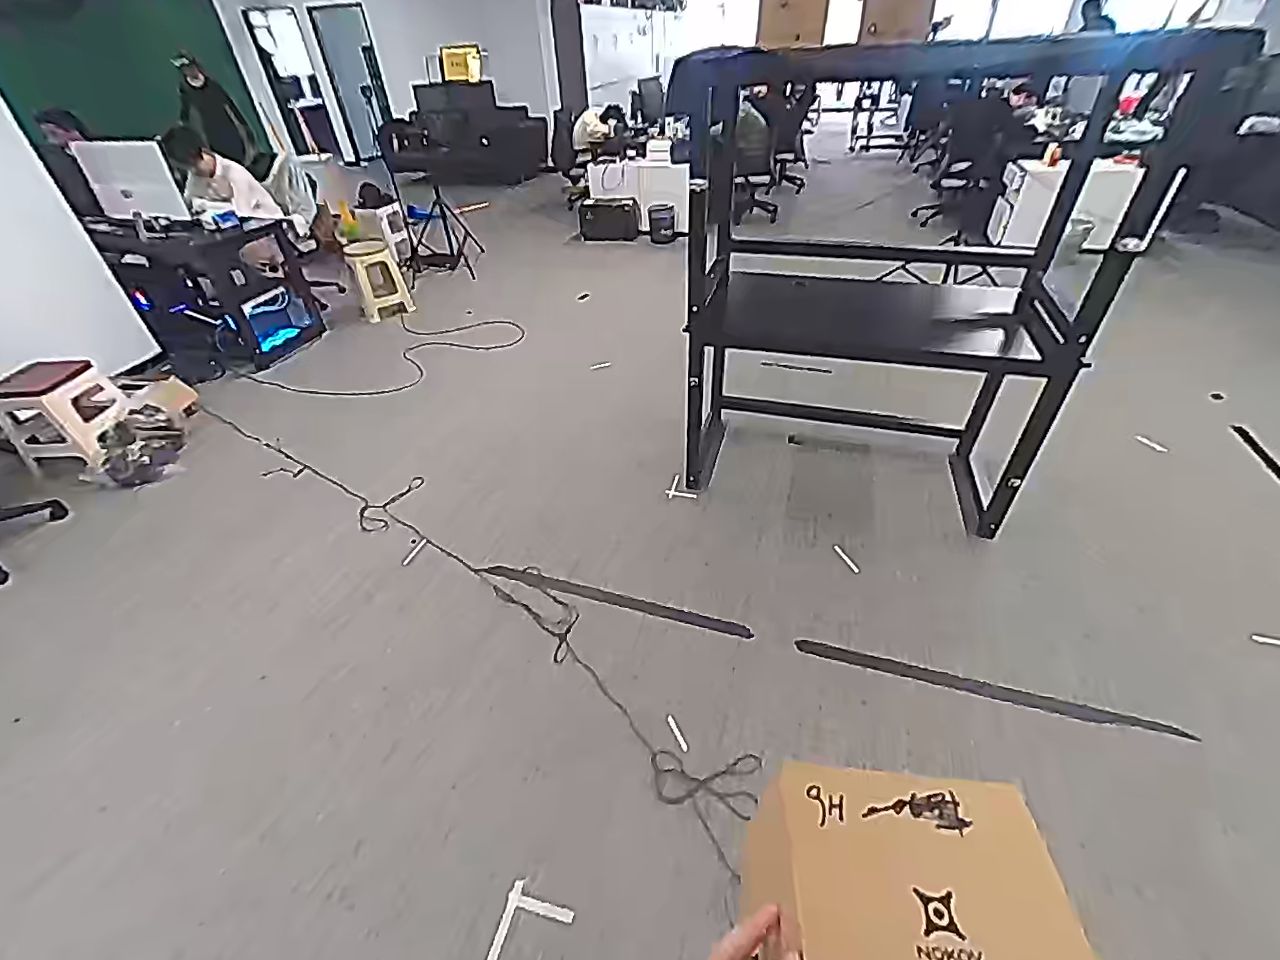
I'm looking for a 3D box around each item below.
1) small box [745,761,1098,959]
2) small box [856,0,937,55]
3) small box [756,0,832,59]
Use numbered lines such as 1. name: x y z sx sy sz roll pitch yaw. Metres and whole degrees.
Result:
1. small box: 0.168 0.318 0.356 0.168 0.176 0.179 6 39 2
2. small box: 0.630 -1.153 1.318 0.168 0.176 0.179 10 38 16
3. small box: 0.391 -1.175 1.362 0.168 0.176 0.179 10 38 14
